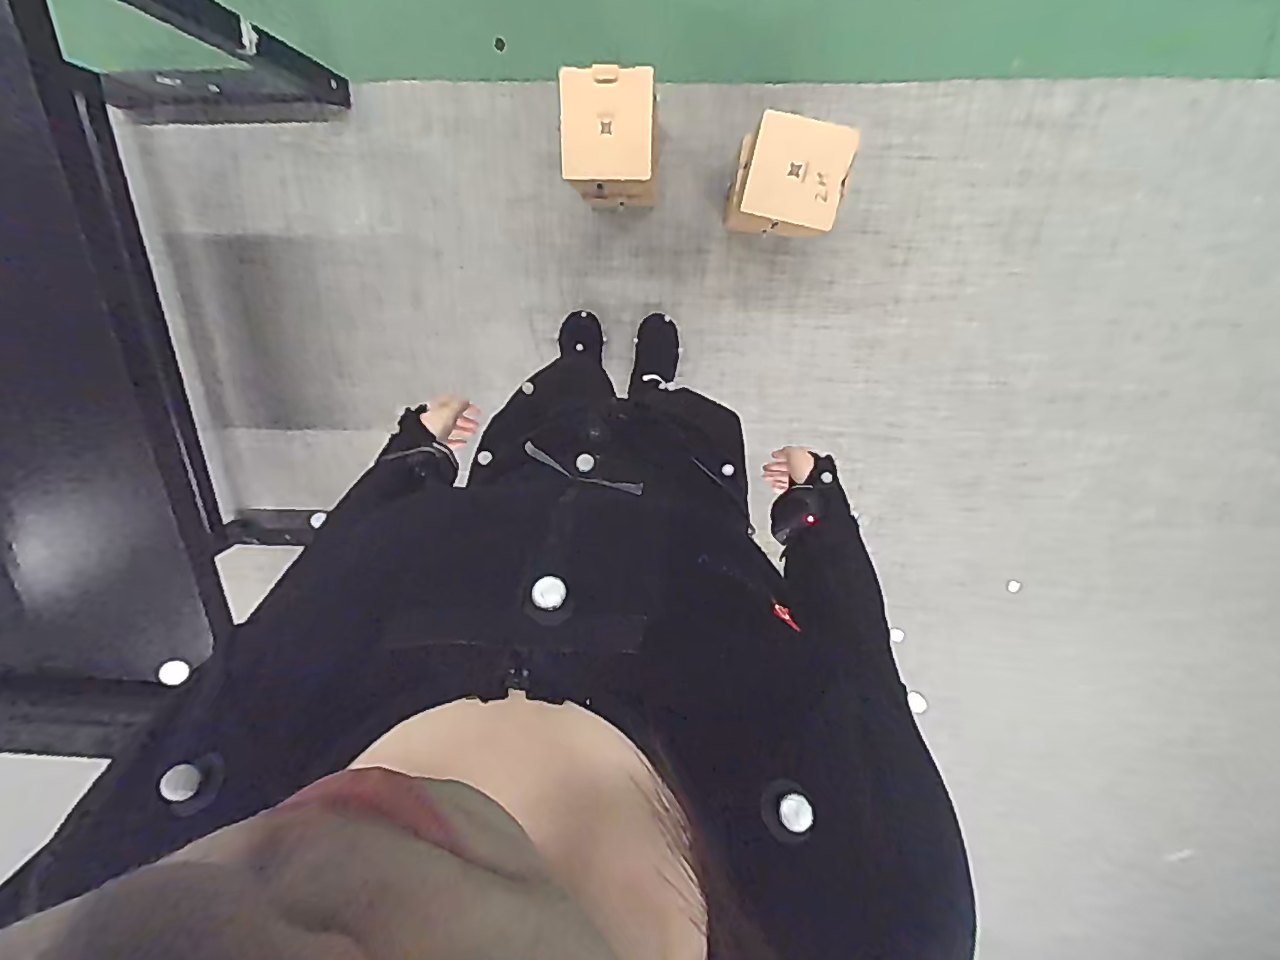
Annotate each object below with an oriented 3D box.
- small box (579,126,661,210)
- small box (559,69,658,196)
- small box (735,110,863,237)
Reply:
[{"bbox_3d":[-0.040,-0.693,1.179,0.168,0.176,0.179,0,110,4],"label":"small box"},{"bbox_3d":[-0.052,-0.645,1.024,0.168,0.176,0.179,2,109,4],"label":"small box"},{"bbox_3d":[0.288,-0.568,1.026,0.179,0.176,0.168,12,112,-1],"label":"small box"}]
